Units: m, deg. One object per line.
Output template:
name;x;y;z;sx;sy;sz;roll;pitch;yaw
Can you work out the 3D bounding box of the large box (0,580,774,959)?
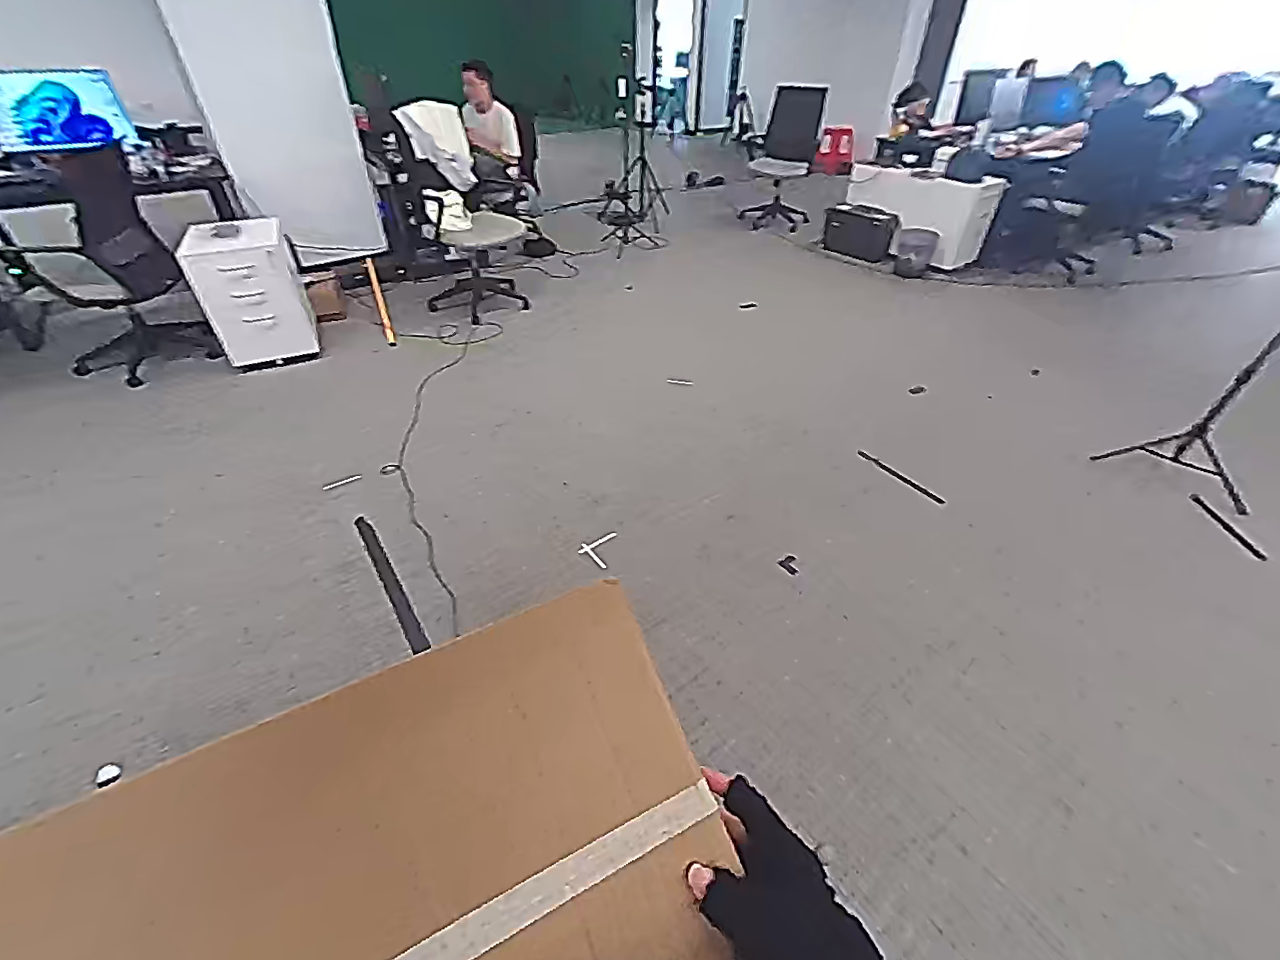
large box;-0.168;0.322;0.441;0.408;0.320;0.320;-21;78;-18
